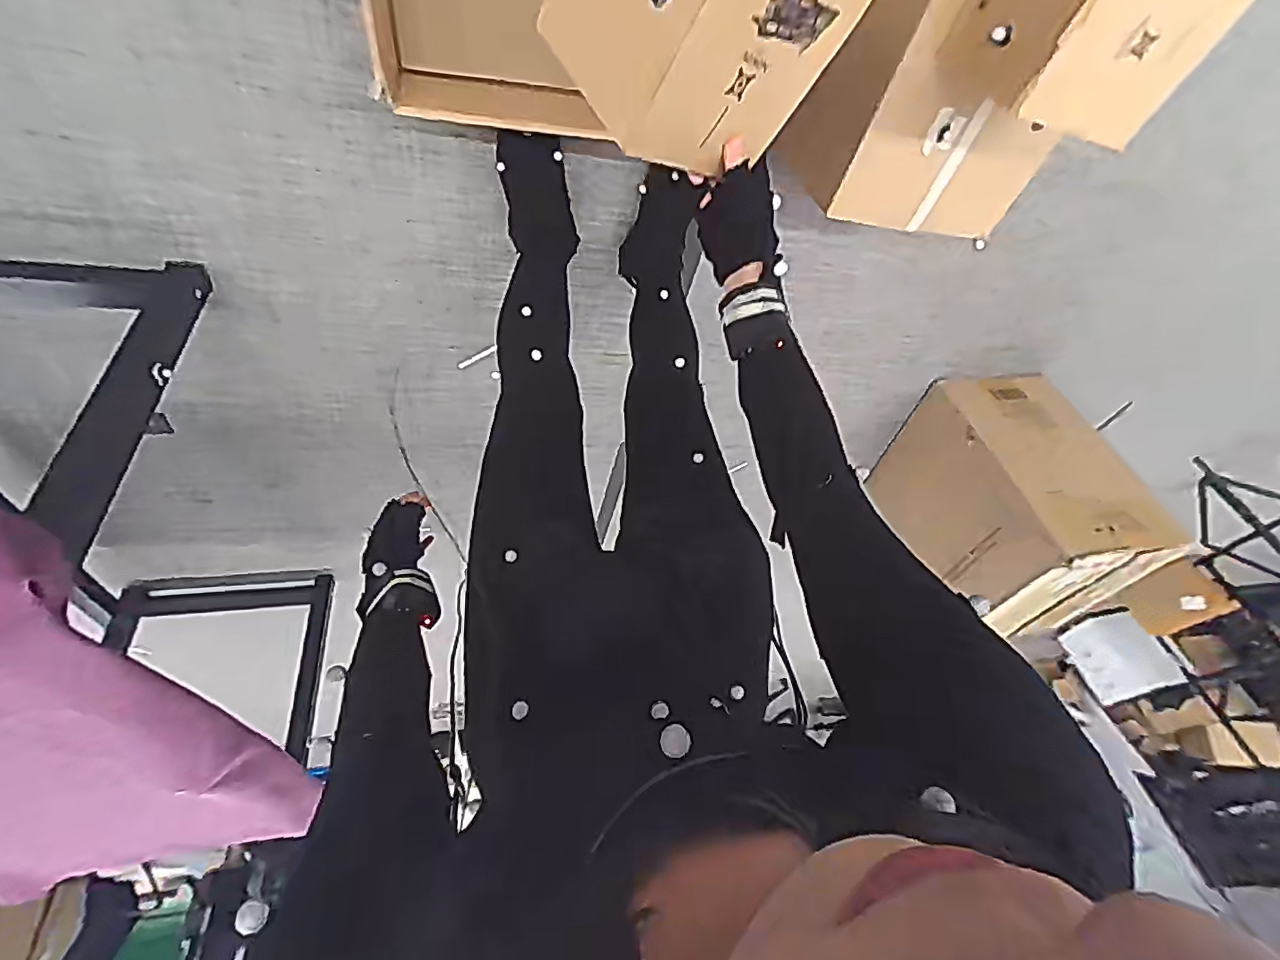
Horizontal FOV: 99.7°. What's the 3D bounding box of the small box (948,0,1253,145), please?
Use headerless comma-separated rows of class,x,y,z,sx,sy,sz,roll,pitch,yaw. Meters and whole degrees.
small box,0.476,-0.494,0.571,0.179,0.176,0.168,1,143,-19

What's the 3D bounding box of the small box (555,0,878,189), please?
small box,0.053,-0.392,0.457,0.168,0.176,0.179,-15,160,-43

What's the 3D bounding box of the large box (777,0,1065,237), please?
large box,0.436,-0.636,0.783,0.320,0.320,0.408,0,143,-16
